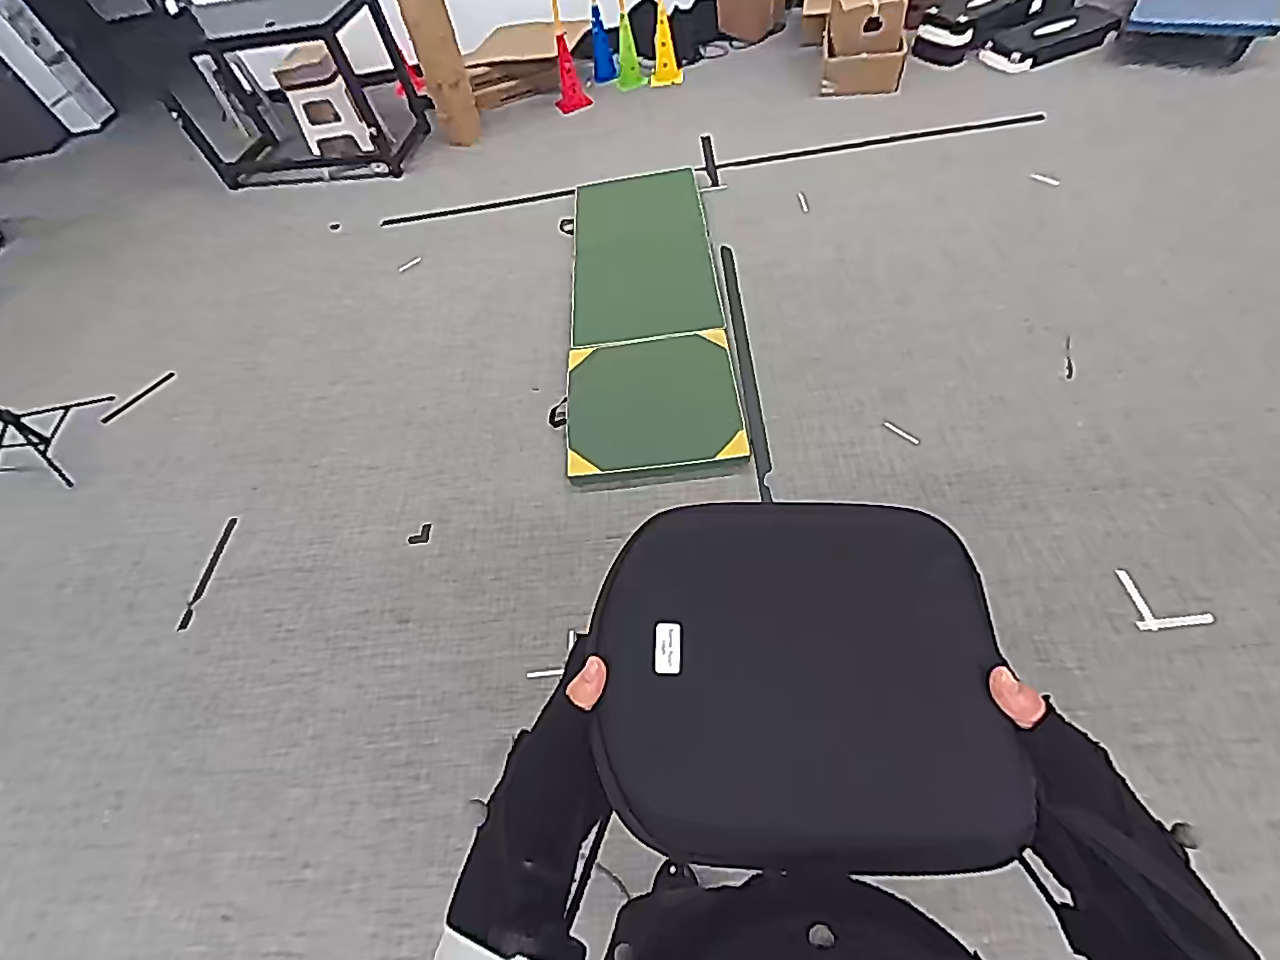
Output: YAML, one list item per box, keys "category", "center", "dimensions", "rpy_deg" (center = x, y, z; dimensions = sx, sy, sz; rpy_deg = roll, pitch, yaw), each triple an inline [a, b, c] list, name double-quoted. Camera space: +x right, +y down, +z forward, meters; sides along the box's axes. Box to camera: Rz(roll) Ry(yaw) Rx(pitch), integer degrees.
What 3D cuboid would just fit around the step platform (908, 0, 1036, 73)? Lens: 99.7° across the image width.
- category: "step platform"
  center: [1.875, -2.553, 3.052]
  dimensions: [0.684, 0.204, 0.286]
  rpy_deg: [-31, 58, -11]
